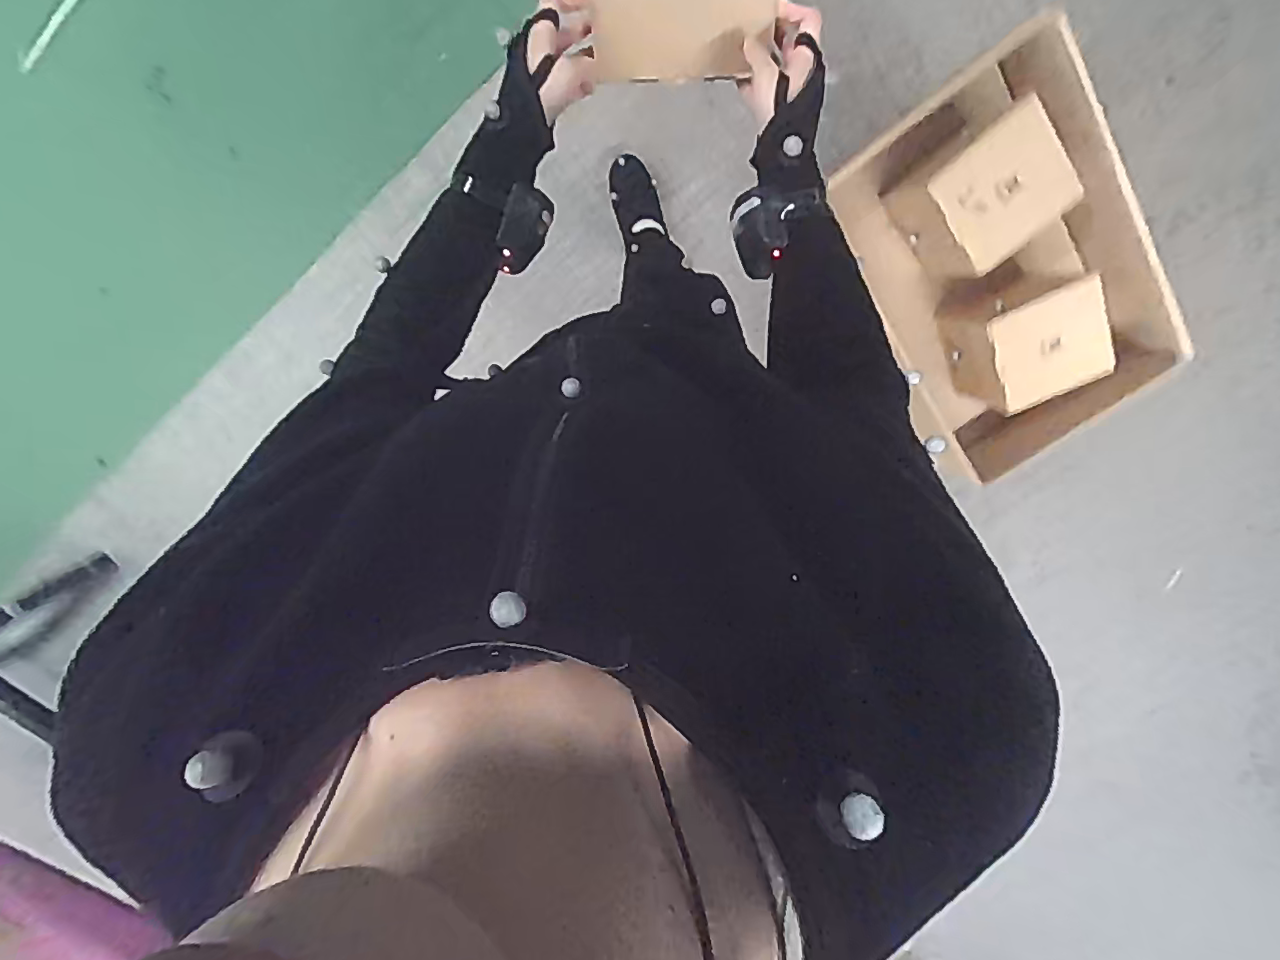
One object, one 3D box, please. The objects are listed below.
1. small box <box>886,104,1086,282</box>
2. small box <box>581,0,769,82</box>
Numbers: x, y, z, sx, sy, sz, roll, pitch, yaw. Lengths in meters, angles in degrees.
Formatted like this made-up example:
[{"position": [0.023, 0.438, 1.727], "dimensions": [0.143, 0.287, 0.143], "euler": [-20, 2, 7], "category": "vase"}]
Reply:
[{"position": [0.534, -0.440, 0.859], "dimensions": [0.179, 0.176, 0.168], "euler": [-38, 106, 13], "category": "small box"}, {"position": [0.031, -0.494, 0.497], "dimensions": [0.168, 0.176, 0.179], "euler": [-2, 138, 1], "category": "small box"}]
